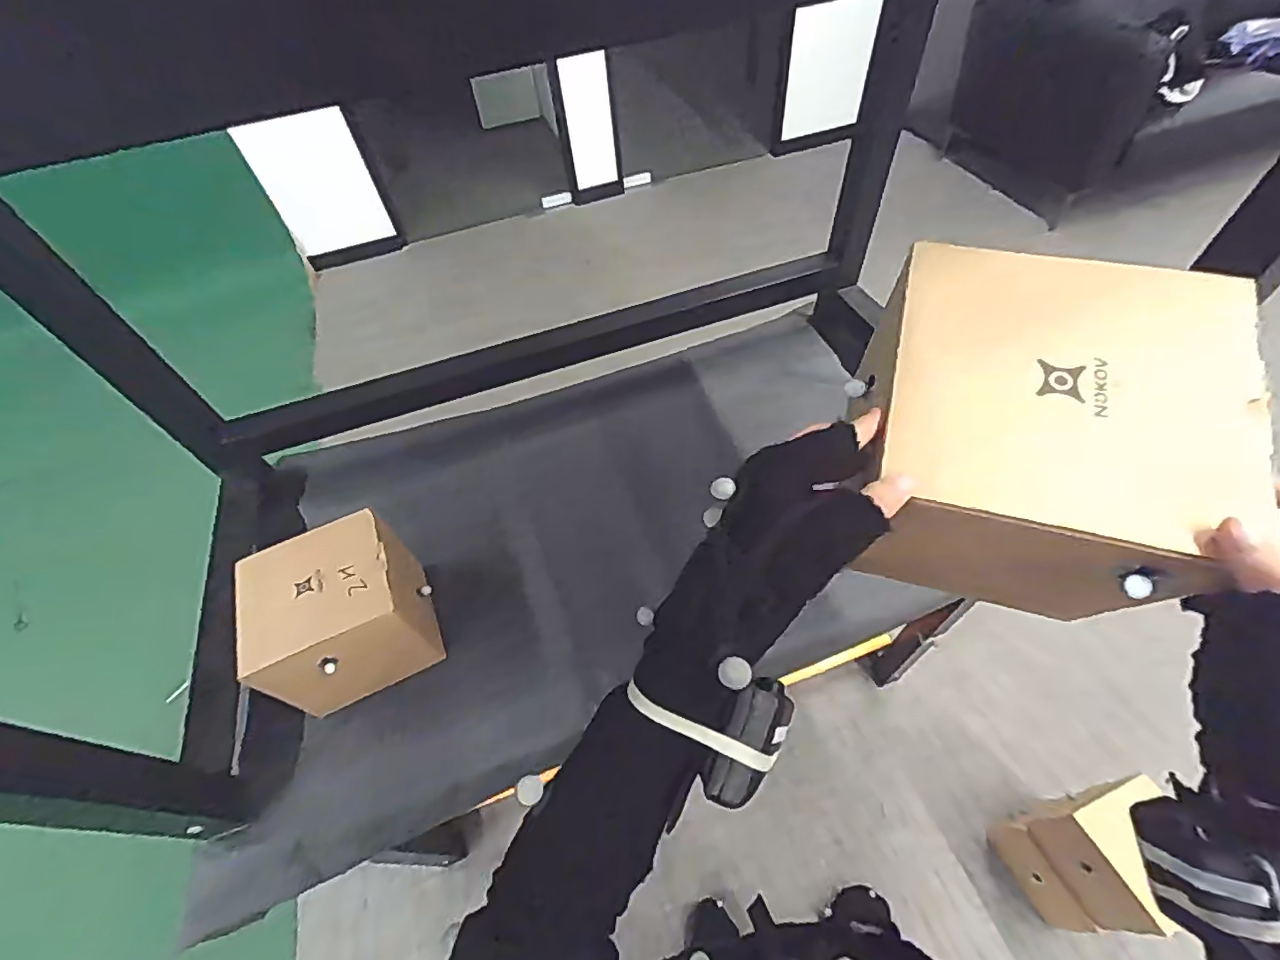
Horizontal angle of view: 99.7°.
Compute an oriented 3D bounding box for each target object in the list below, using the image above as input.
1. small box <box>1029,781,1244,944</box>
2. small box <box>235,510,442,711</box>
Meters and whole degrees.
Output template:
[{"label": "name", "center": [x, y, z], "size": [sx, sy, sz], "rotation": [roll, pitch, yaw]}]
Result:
[{"label": "small box", "center": [0.839, 0.657, 0.937], "size": [0.168, 0.176, 0.179], "rotation": [-20, 53, -9]}, {"label": "small box", "center": [-0.388, 0.176, 0.713], "size": [0.179, 0.176, 0.168], "rotation": [-23, 55, -12]}]
